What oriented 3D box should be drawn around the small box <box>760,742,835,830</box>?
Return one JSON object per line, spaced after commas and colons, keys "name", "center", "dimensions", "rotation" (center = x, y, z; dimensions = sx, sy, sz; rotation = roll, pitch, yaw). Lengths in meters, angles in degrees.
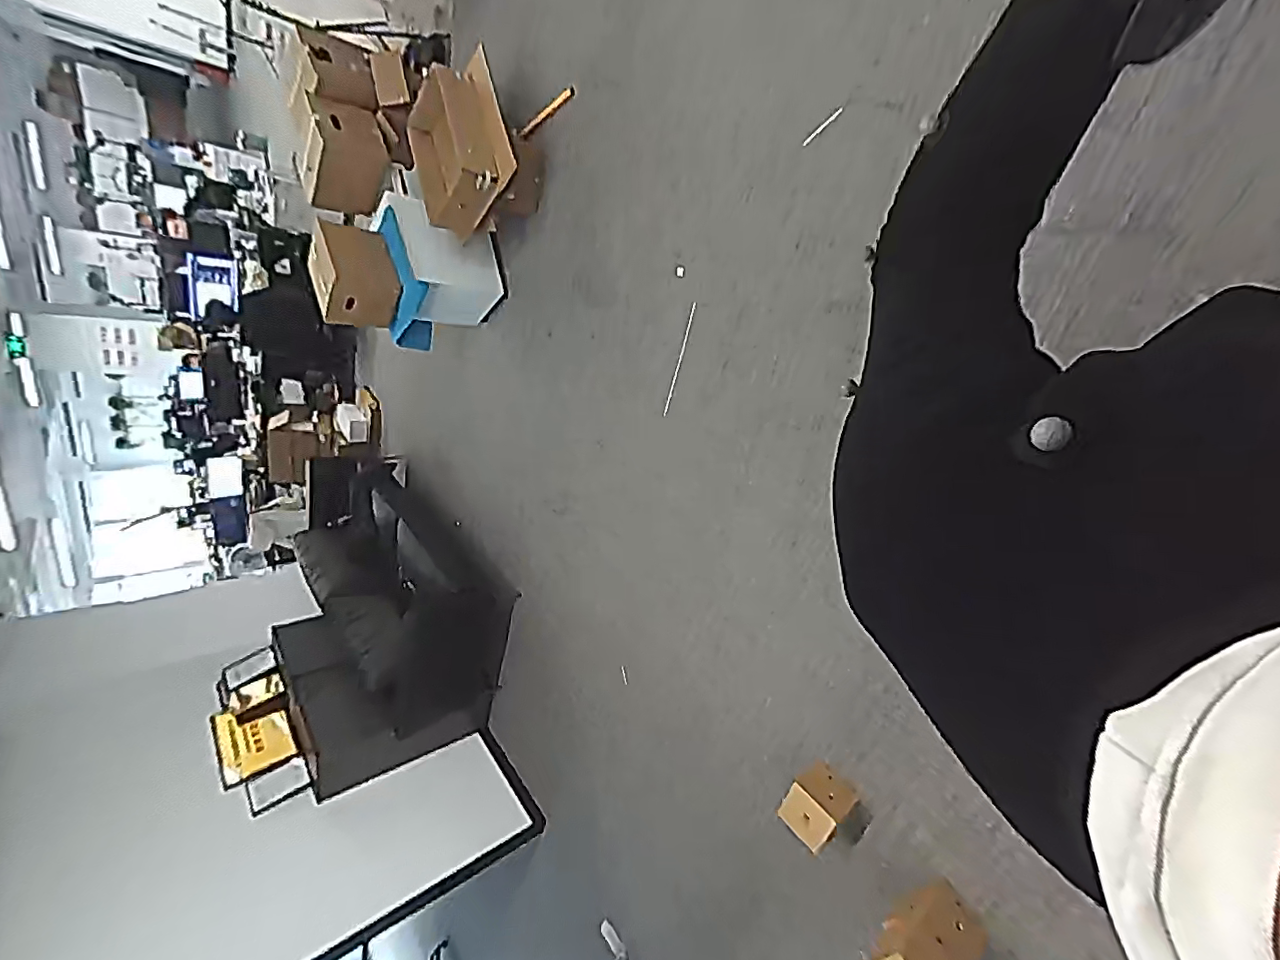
{"name": "small box", "center": [0.558, 1.067, 1.902], "dimensions": [0.168, 0.176, 0.179], "rotation": [36, 122, 36]}
